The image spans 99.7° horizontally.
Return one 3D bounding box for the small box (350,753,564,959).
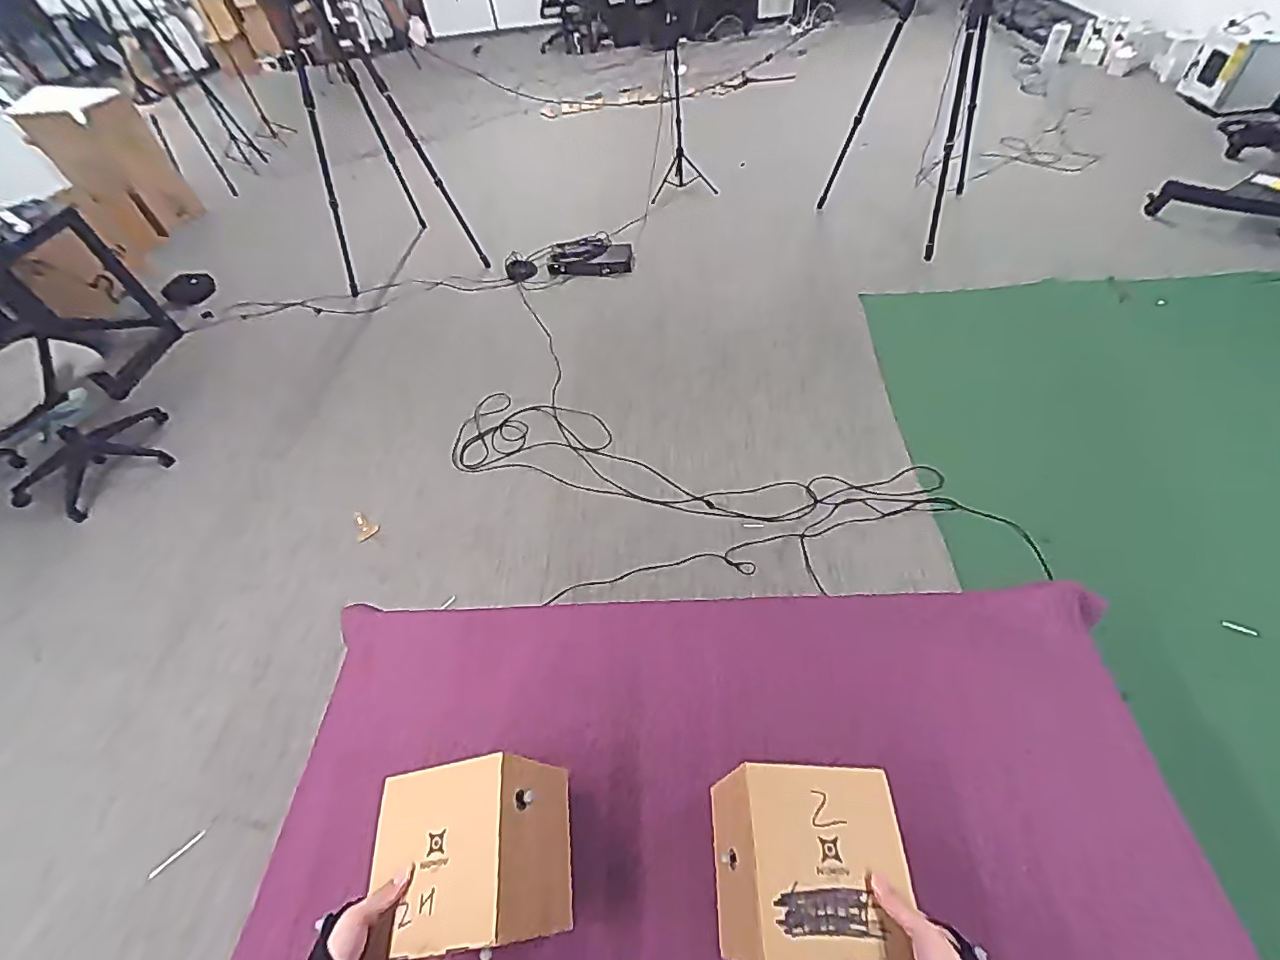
[{"bbox_3d":[-0.199,0.446,0.642,0.168,0.176,0.179,-18,51,13],"label":"small box"}]
